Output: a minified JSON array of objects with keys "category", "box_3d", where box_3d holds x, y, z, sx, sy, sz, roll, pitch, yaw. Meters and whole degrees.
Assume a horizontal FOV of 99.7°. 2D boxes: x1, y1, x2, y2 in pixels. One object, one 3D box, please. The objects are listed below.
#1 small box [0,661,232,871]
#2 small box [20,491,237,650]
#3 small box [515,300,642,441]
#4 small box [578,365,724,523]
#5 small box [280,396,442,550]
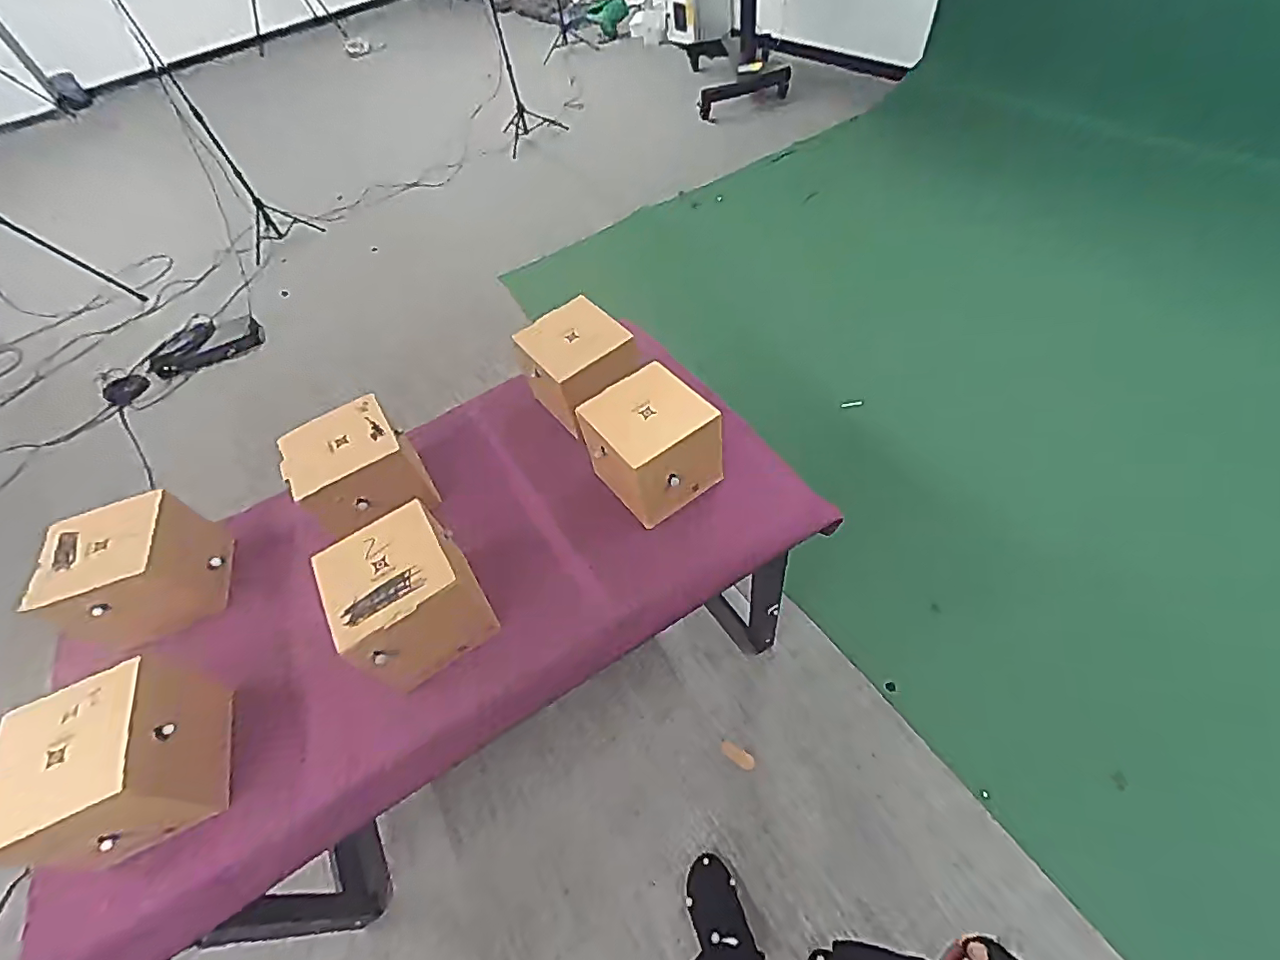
[{"category":"small box","box_3d":[-0.666,0.369,0.695,0.168,0.176,0.179,-23,53,-9]},{"category":"small box","box_3d":[-0.810,0.152,0.881,0.179,0.176,0.168,-19,54,-7]},{"category":"small box","box_3d":[-0.110,-0.208,1.042,0.168,0.176,0.179,-35,57,-15]},{"category":"small box","box_3d":[0.026,-0.052,0.902,0.168,0.176,0.179,-33,53,-15]},{"category":"small box","box_3d":[-0.483,-0.007,0.952,0.179,0.176,0.168,-31,57,-13]}]
